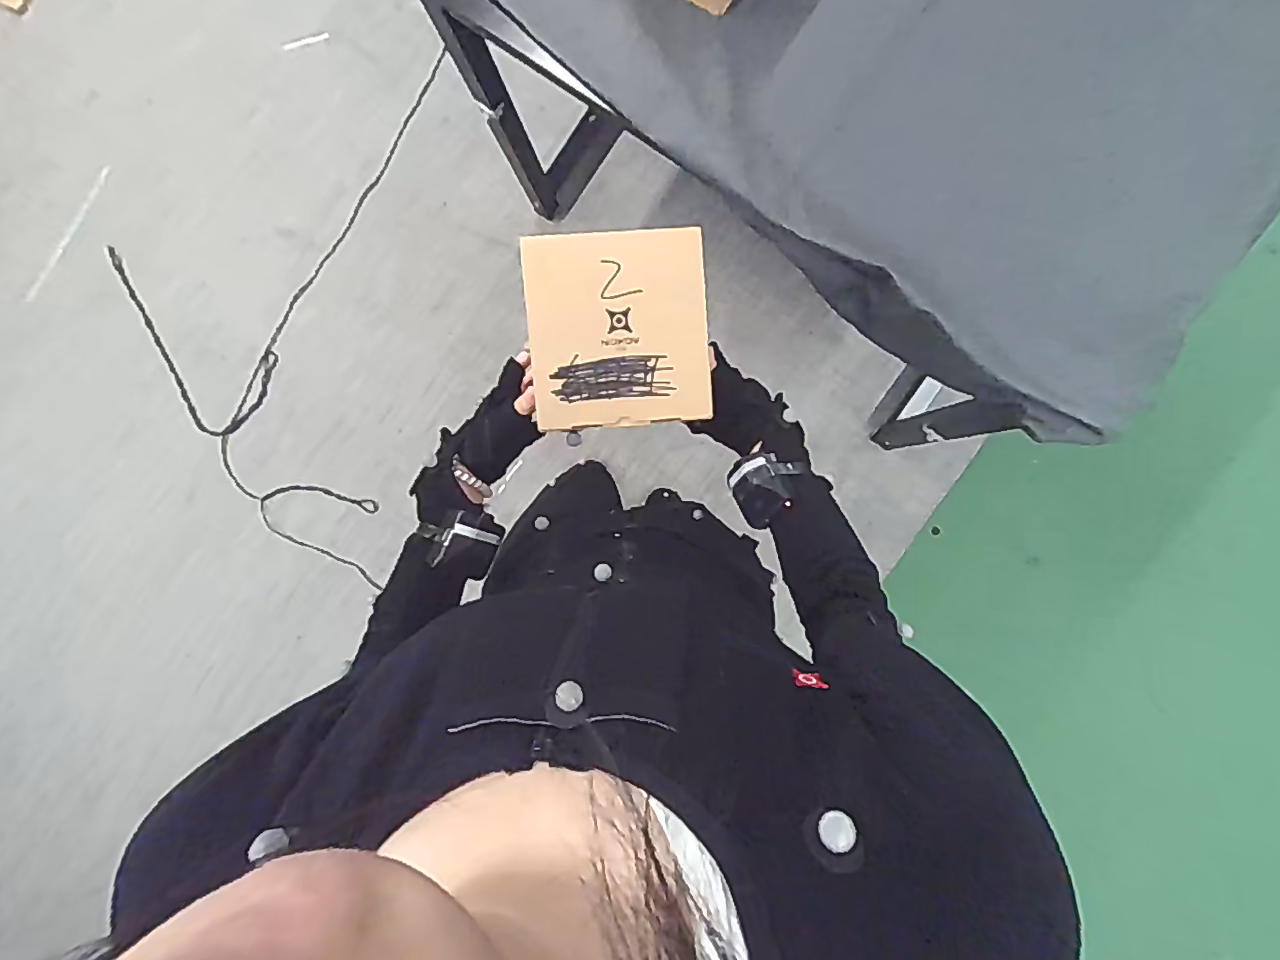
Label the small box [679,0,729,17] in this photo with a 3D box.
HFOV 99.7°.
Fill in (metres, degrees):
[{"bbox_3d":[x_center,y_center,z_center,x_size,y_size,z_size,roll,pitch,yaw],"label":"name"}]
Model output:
[{"bbox_3d":[0.083,-0.764,0.685,0.168,0.176,0.179,33,92,3],"label":"small box"}]
